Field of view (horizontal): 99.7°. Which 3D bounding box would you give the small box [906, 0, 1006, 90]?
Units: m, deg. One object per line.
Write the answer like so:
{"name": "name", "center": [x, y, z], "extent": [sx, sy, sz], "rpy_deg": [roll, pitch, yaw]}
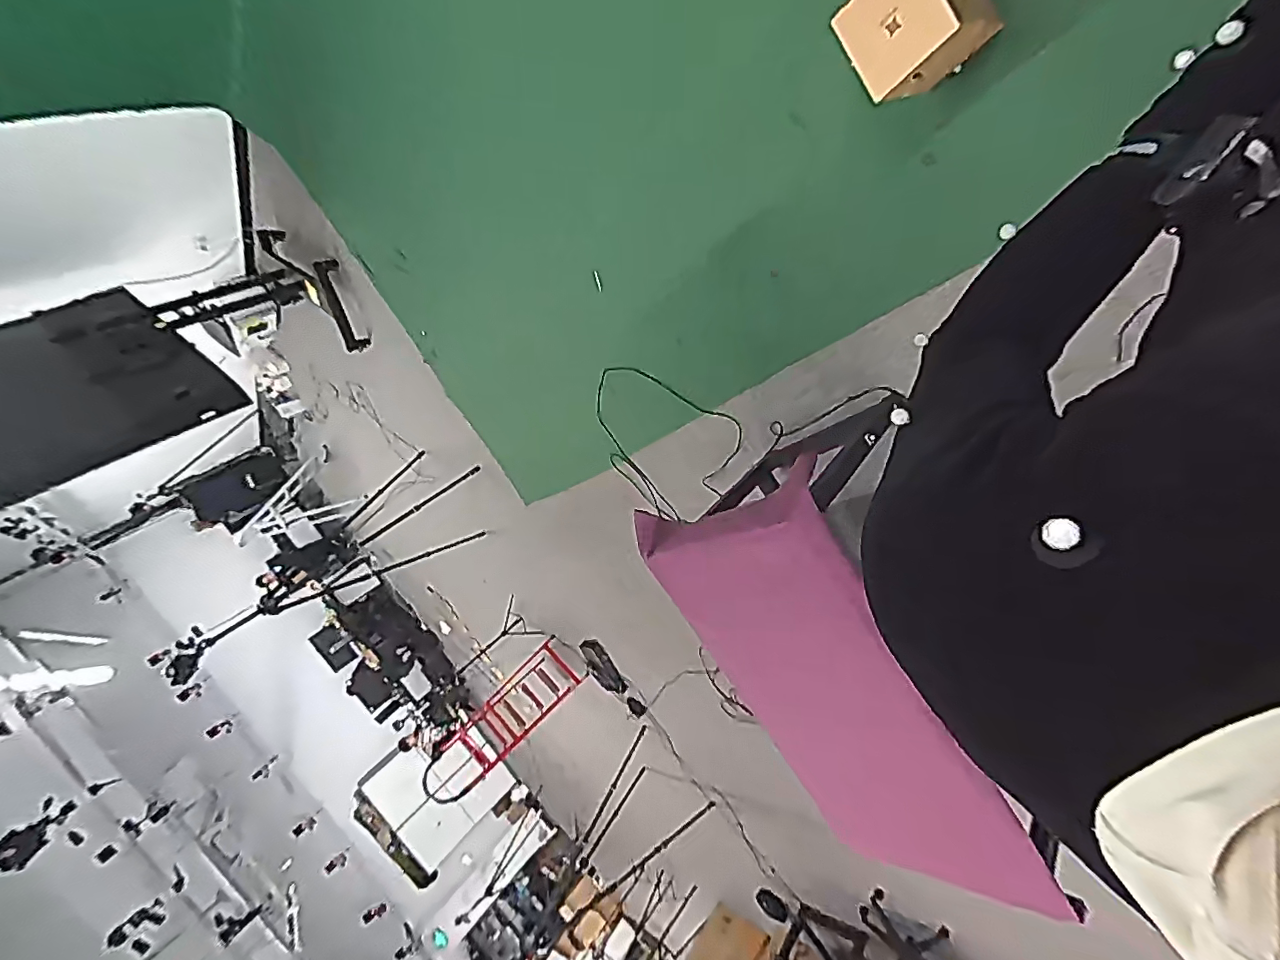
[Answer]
{"name": "small box", "center": [0.611, -0.949, 1.108], "extent": [0.179, 0.176, 0.168], "rpy_deg": [56, 145, -7]}

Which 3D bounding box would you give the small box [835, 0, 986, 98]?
{"name": "small box", "center": [0.510, -0.867, 1.013], "extent": [0.179, 0.176, 0.168], "rpy_deg": [57, 145, -6]}
